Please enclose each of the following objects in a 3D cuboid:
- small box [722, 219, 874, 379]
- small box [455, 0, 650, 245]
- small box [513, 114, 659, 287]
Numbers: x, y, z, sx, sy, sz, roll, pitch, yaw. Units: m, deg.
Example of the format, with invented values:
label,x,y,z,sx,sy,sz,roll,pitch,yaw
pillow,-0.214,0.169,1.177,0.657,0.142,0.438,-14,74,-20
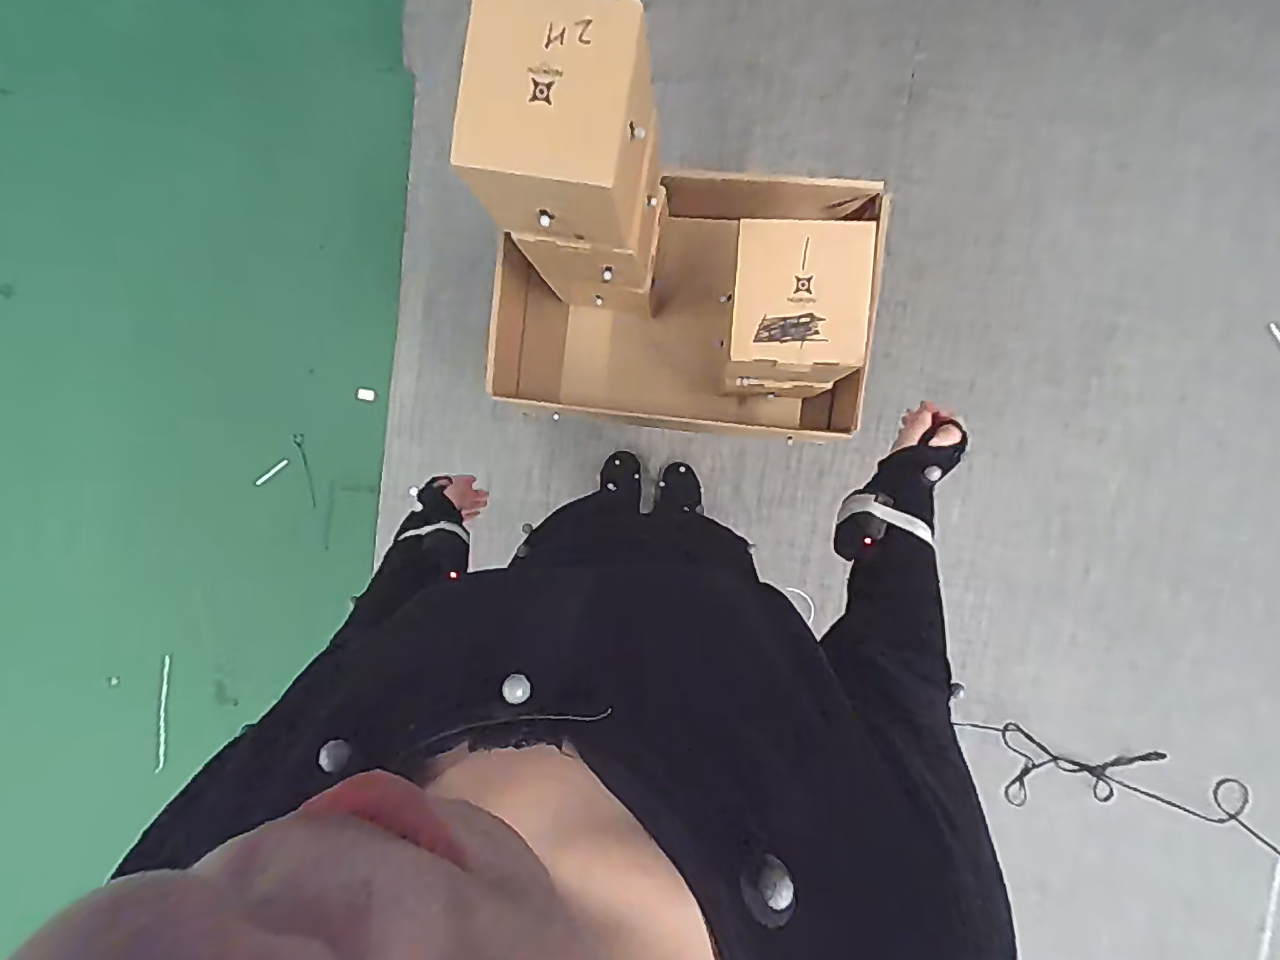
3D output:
label,x,y,z,sx,sy,sz,roll,pitch,yaw
small box,0.205,-0.237,0.748,0.168,0.176,0.179,4,94,5
small box,-0.084,-0.385,0.602,0.168,0.176,0.179,11,94,2
small box,-0.066,-0.389,0.765,0.168,0.176,0.179,9,94,3
